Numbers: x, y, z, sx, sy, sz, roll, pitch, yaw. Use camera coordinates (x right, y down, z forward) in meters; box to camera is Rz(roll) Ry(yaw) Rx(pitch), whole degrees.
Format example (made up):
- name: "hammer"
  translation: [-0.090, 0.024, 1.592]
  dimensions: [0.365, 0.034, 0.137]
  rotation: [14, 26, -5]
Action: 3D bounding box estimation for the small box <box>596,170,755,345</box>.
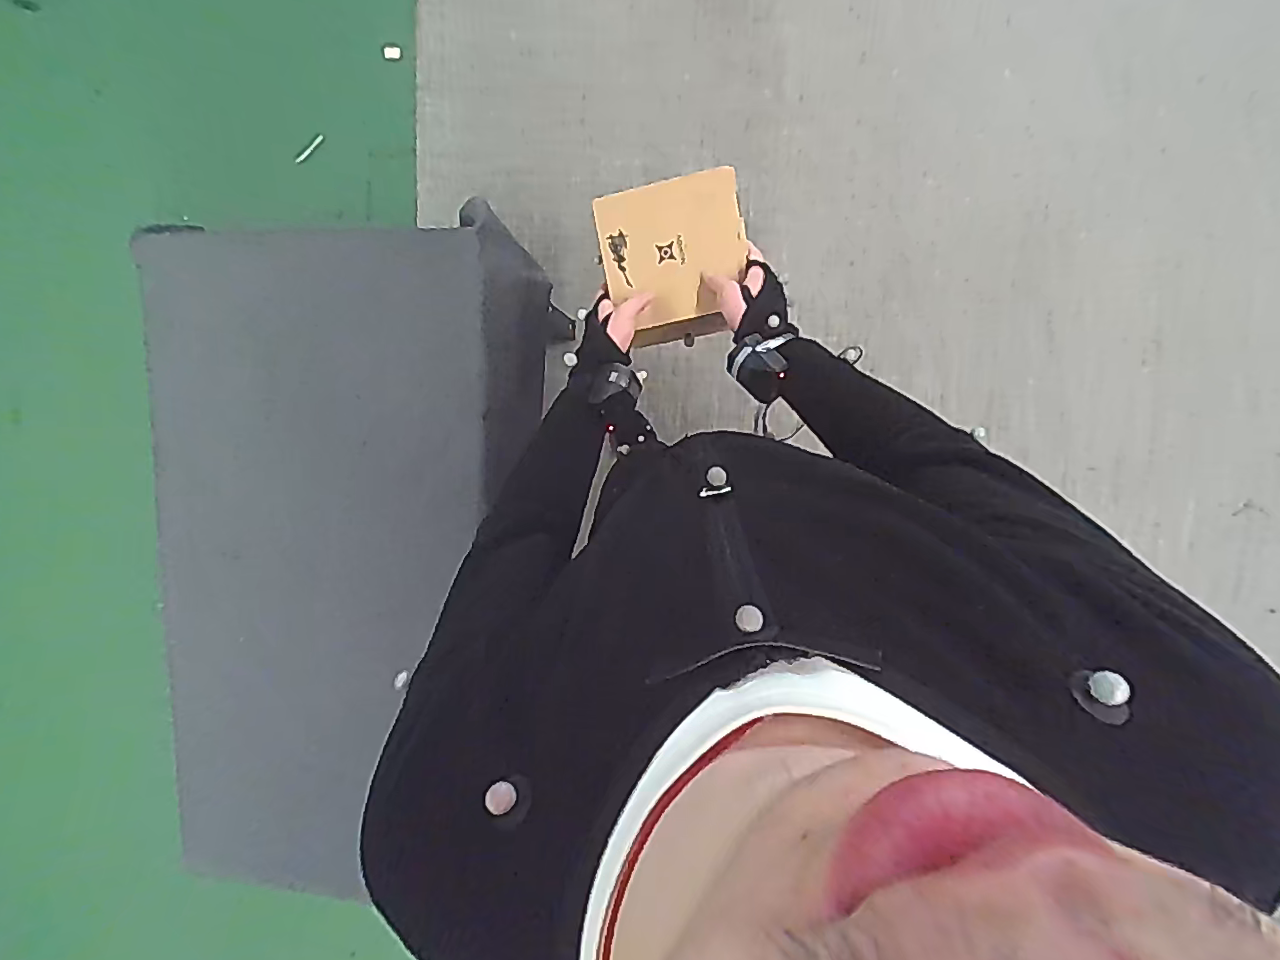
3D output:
- name: "small box"
  translation: [0.049, -0.287, 0.735]
  dimensions: [0.179, 0.176, 0.168]
  rotation: [-9, 96, 6]
